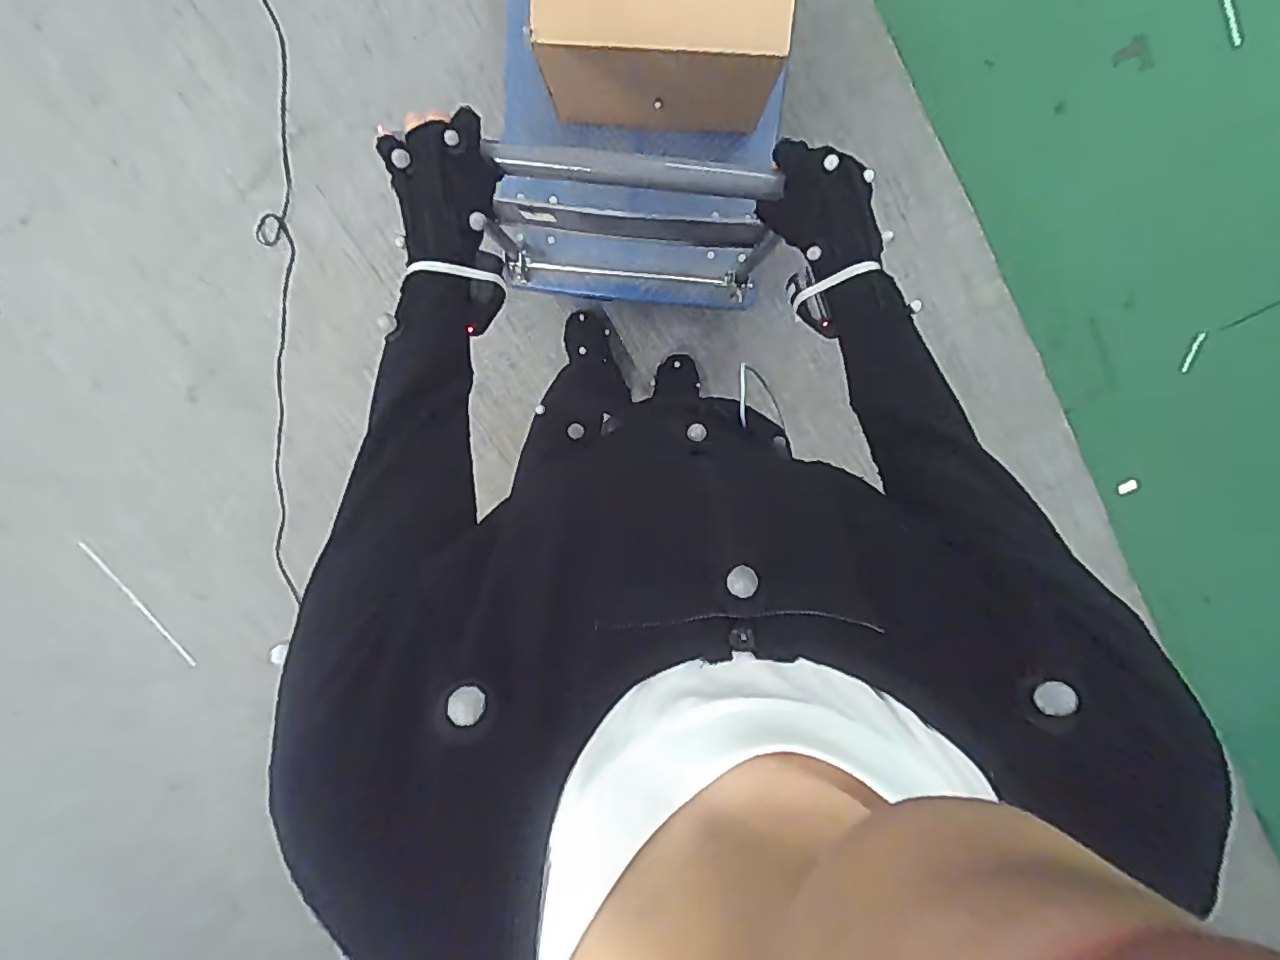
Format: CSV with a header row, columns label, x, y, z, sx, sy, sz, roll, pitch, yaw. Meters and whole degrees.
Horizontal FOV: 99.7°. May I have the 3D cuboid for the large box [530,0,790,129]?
label,x,y,z,sx,sy,sz,roll,pitch,yaw
large box,0.039,-0.850,0.953,0.408,0.320,0.320,3,103,1
